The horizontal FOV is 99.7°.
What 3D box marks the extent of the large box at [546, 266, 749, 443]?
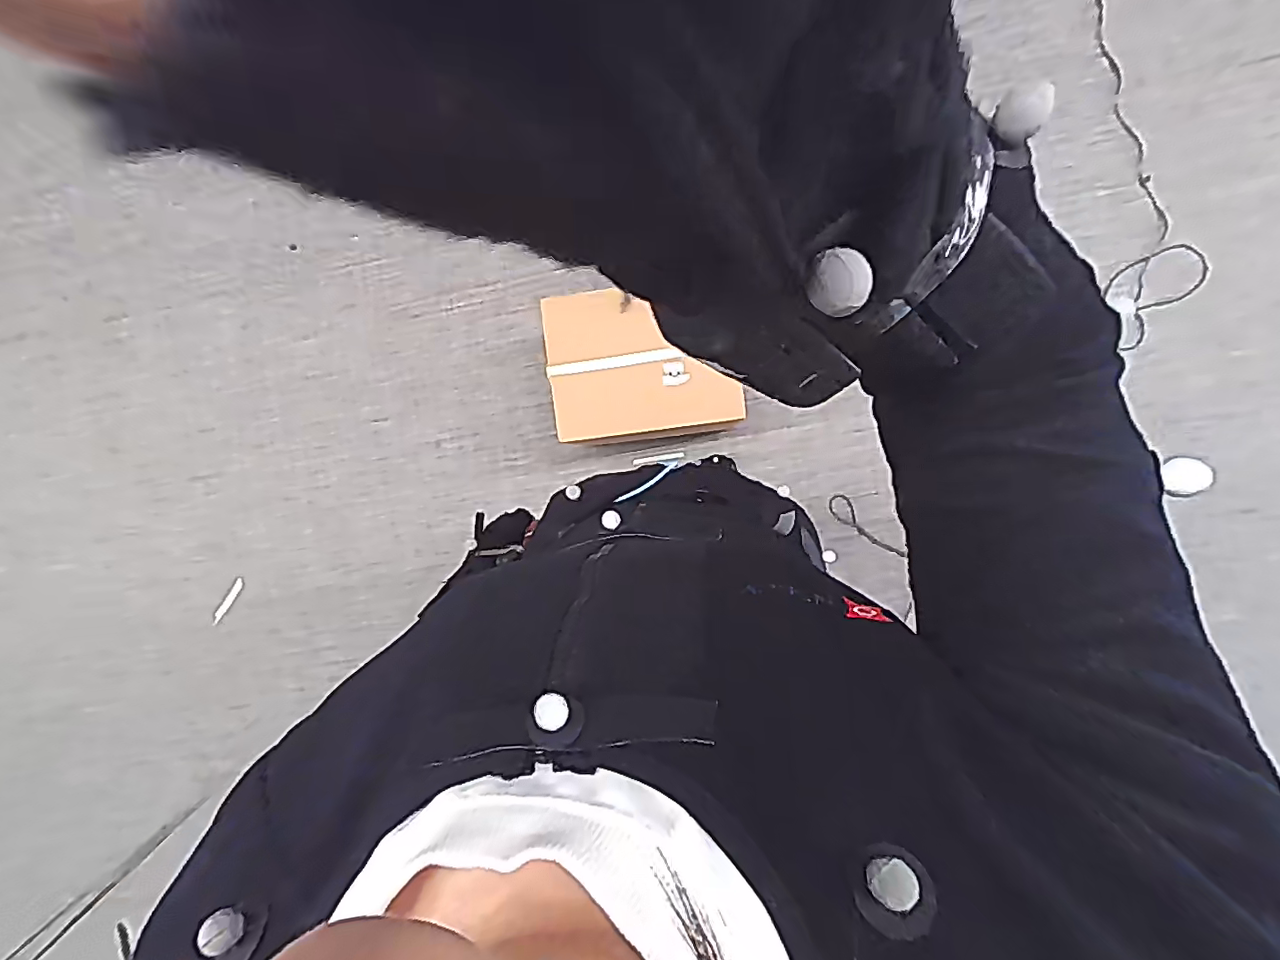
[{"bbox_3d":[0.025,-0.272,1.293,0.408,0.320,0.320,-7,92,5],"label":"large box"}]
